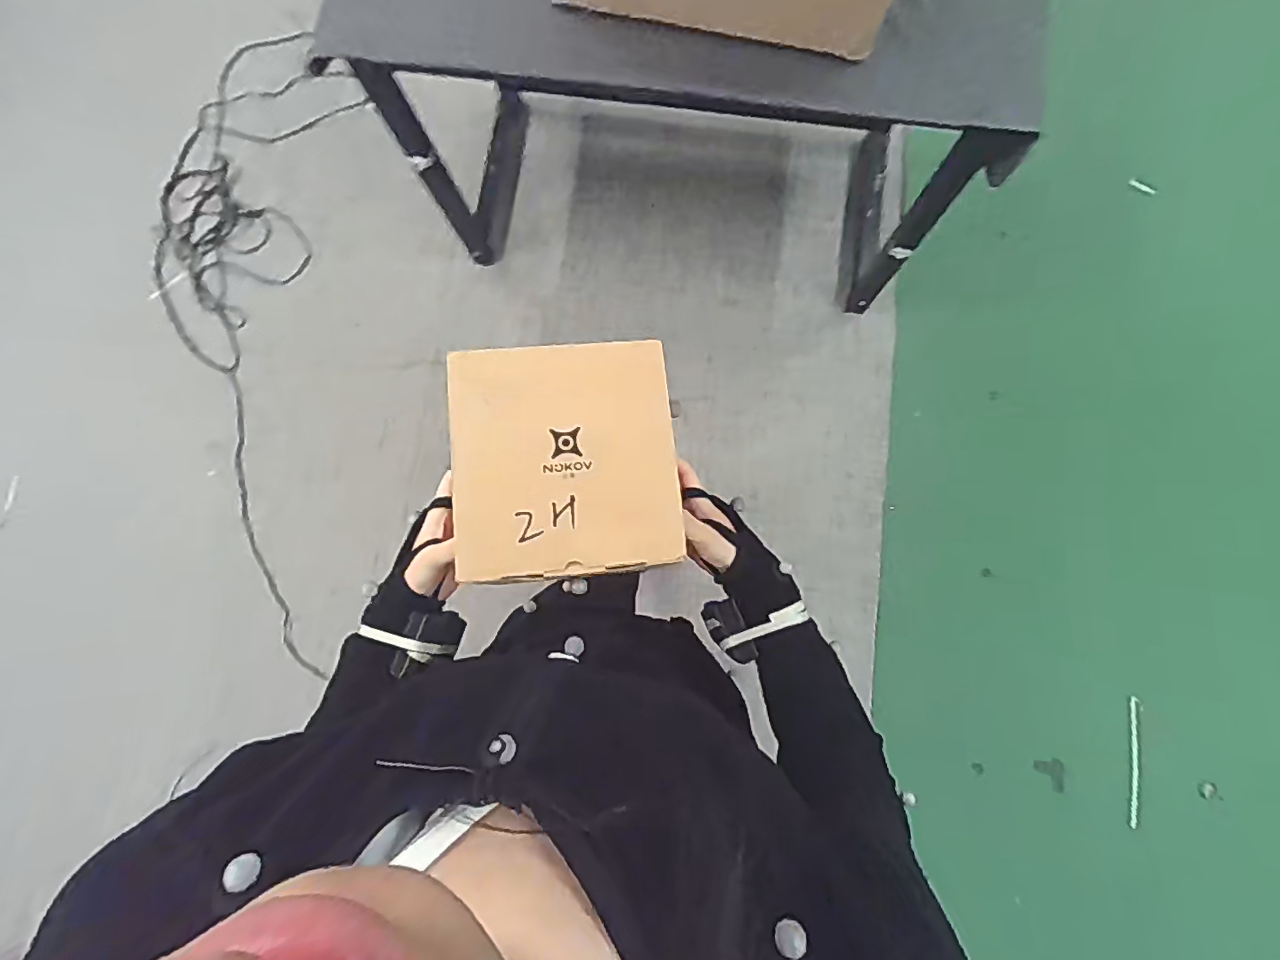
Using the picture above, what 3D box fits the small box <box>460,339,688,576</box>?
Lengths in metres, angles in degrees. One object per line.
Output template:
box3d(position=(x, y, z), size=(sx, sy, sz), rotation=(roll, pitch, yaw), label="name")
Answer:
box3d(position=(-0.060, -0.008, 0.486), size=(0.168, 0.176, 0.179), rotation=(-4, 81, -6), label="small box")
